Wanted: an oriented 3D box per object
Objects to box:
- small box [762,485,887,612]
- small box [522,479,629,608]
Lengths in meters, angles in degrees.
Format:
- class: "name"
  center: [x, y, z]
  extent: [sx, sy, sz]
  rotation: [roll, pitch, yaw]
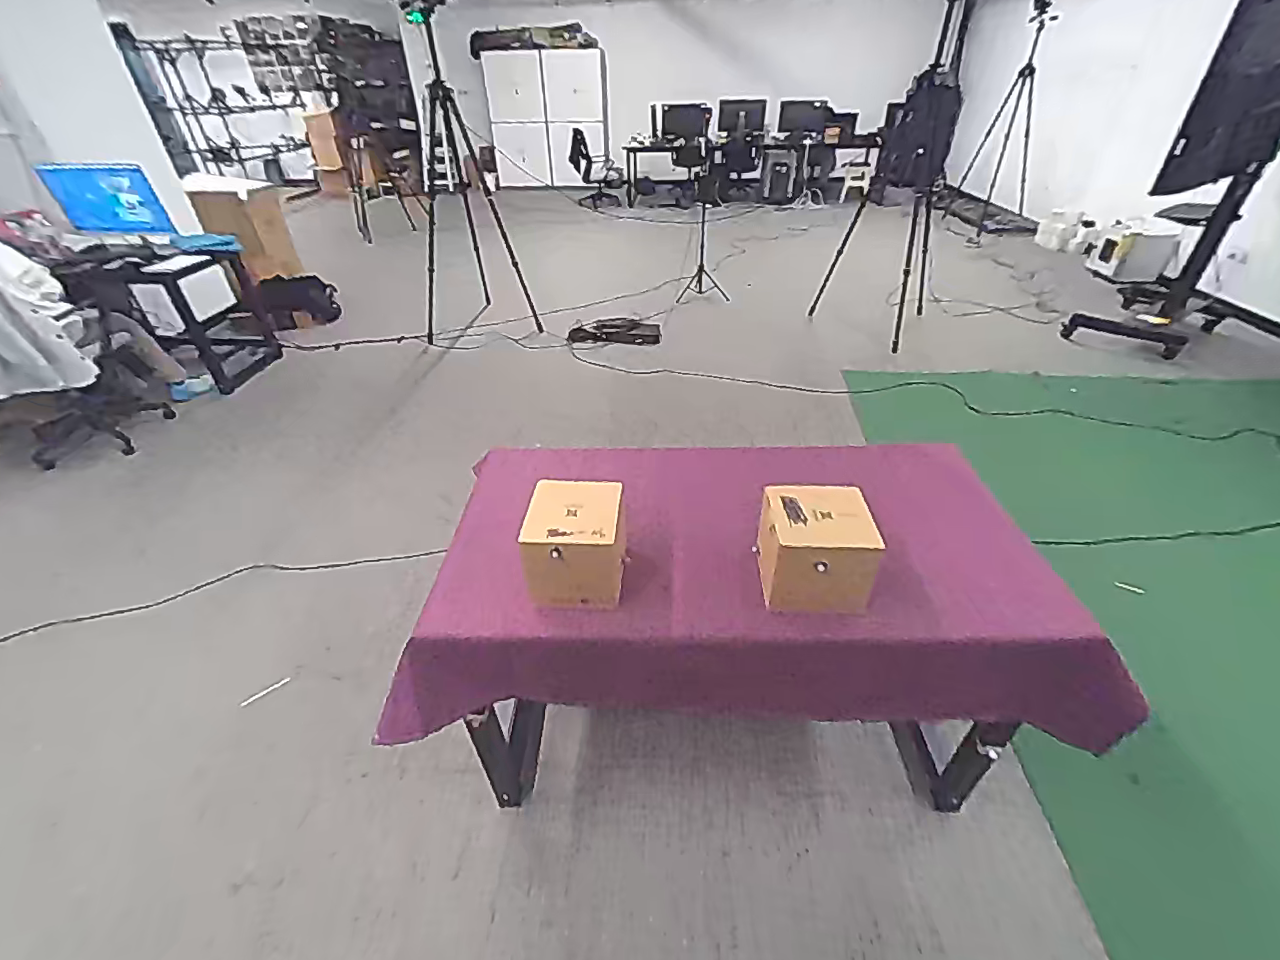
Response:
- class: "small box"
  center: [0.324, 0.126, 0.993]
  extent: [0.179, 0.176, 0.168]
  rotation: [1, 37, 3]
- class: "small box"
  center: [-0.111, 0.117, 1.022]
  extent: [0.168, 0.176, 0.179]
  rotation: [1, 36, 5]
